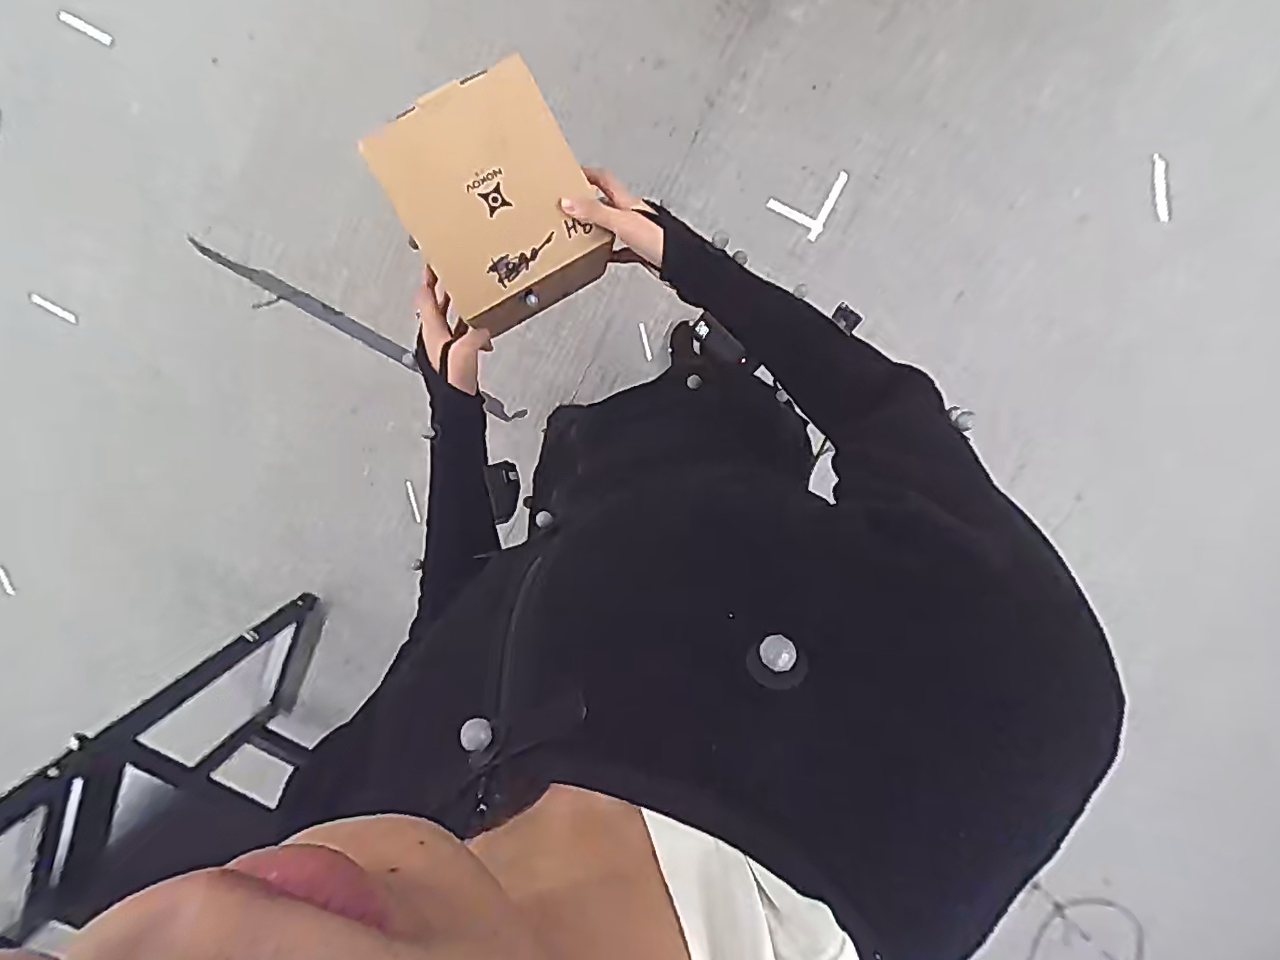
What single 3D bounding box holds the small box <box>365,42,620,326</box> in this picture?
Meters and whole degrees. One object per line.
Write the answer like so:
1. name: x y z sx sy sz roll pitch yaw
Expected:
1. small box: -0.139 -0.281 0.559 0.168 0.176 0.179 -29 101 -3
